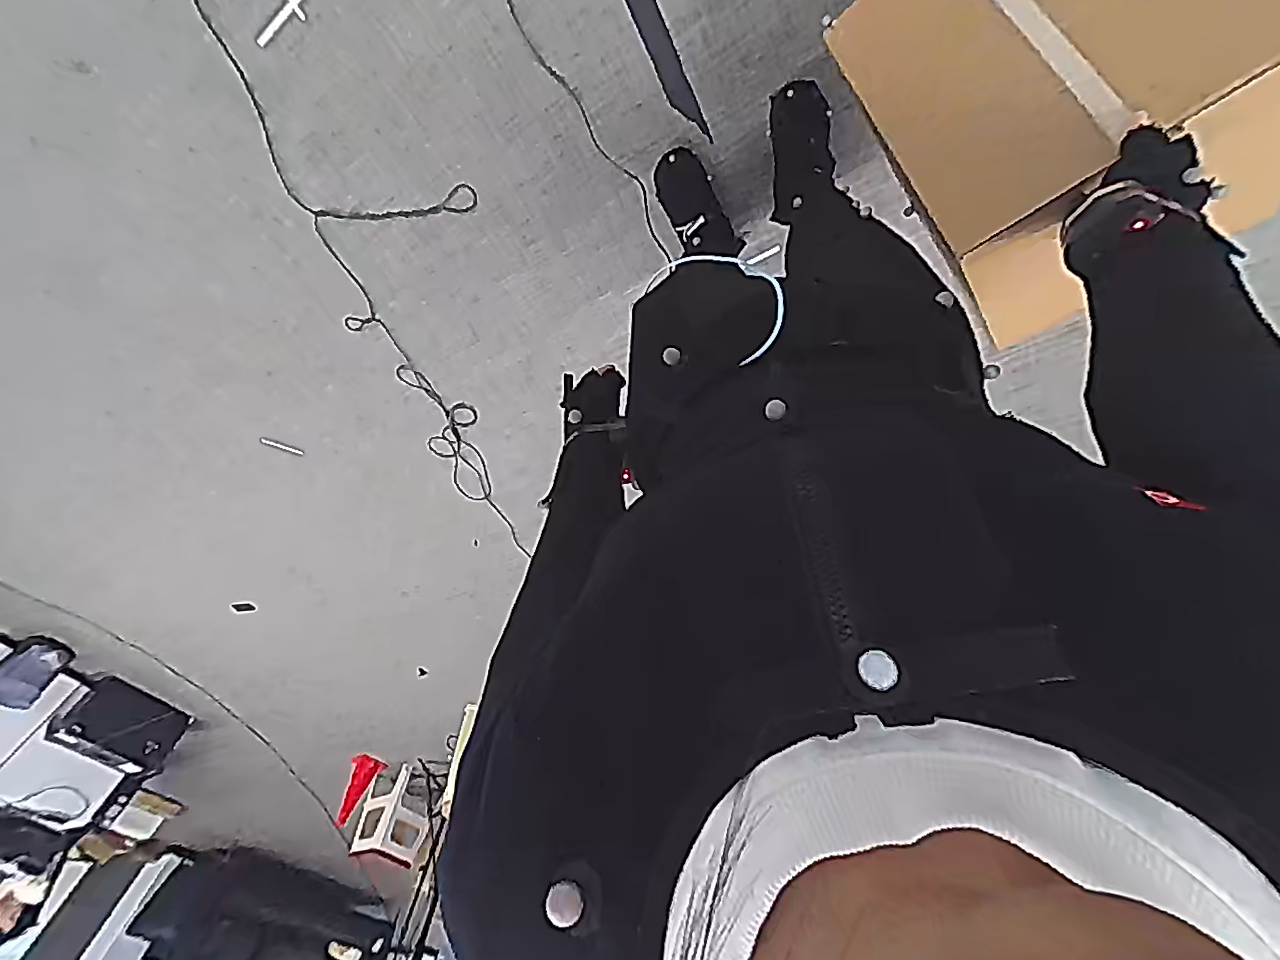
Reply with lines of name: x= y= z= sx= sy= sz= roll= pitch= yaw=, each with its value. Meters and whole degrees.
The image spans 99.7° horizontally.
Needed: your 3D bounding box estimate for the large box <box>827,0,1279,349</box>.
large box: x=0.513 y=-0.454 z=0.701 sx=0.320 sy=0.408 sz=0.320 roll=-30 pitch=153 yaw=32
